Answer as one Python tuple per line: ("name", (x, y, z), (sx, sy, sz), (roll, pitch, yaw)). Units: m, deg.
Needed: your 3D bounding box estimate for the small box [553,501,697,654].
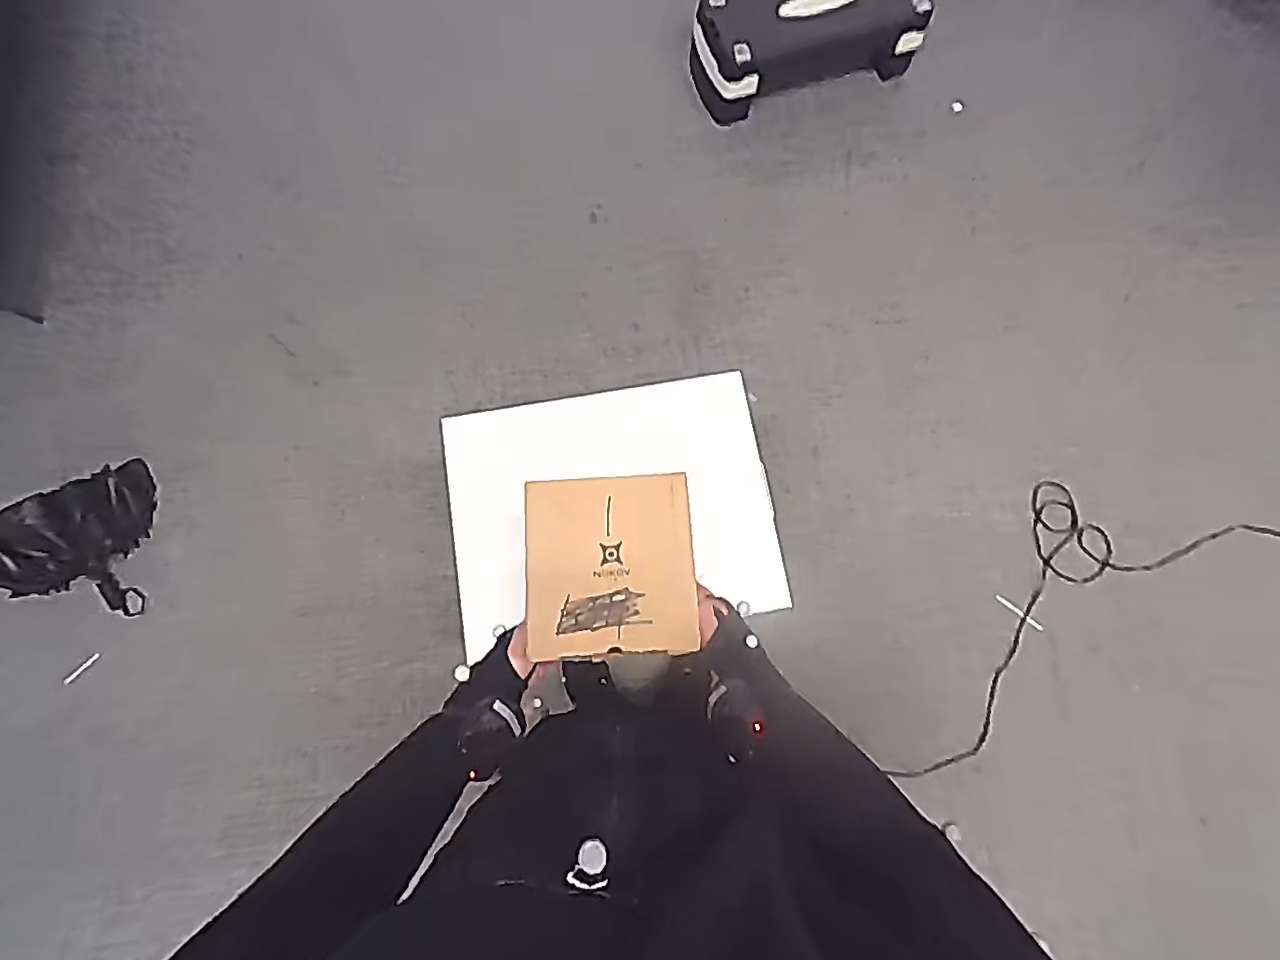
("small box", (-0.024, 0.141, 0.767), (0.168, 0.176, 0.179), (-9, 77, -3))
